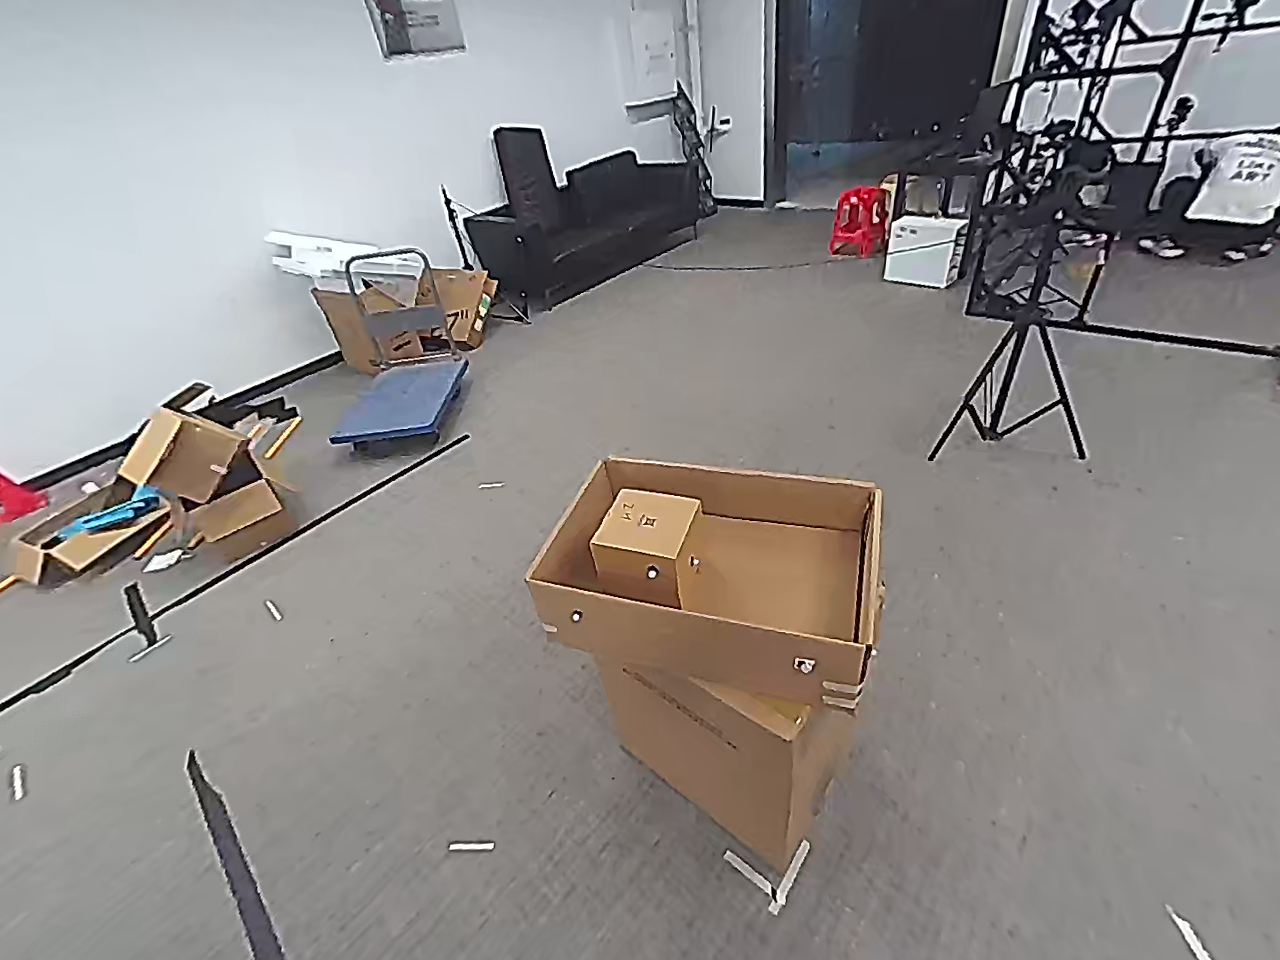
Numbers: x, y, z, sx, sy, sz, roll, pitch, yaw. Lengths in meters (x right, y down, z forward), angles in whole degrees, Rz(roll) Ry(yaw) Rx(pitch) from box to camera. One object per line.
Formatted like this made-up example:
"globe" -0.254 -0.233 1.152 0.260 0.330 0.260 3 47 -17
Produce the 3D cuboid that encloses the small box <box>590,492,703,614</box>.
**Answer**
"small box" 0.024 0.149 1.102 0.179 0.176 0.168 7 41 21
